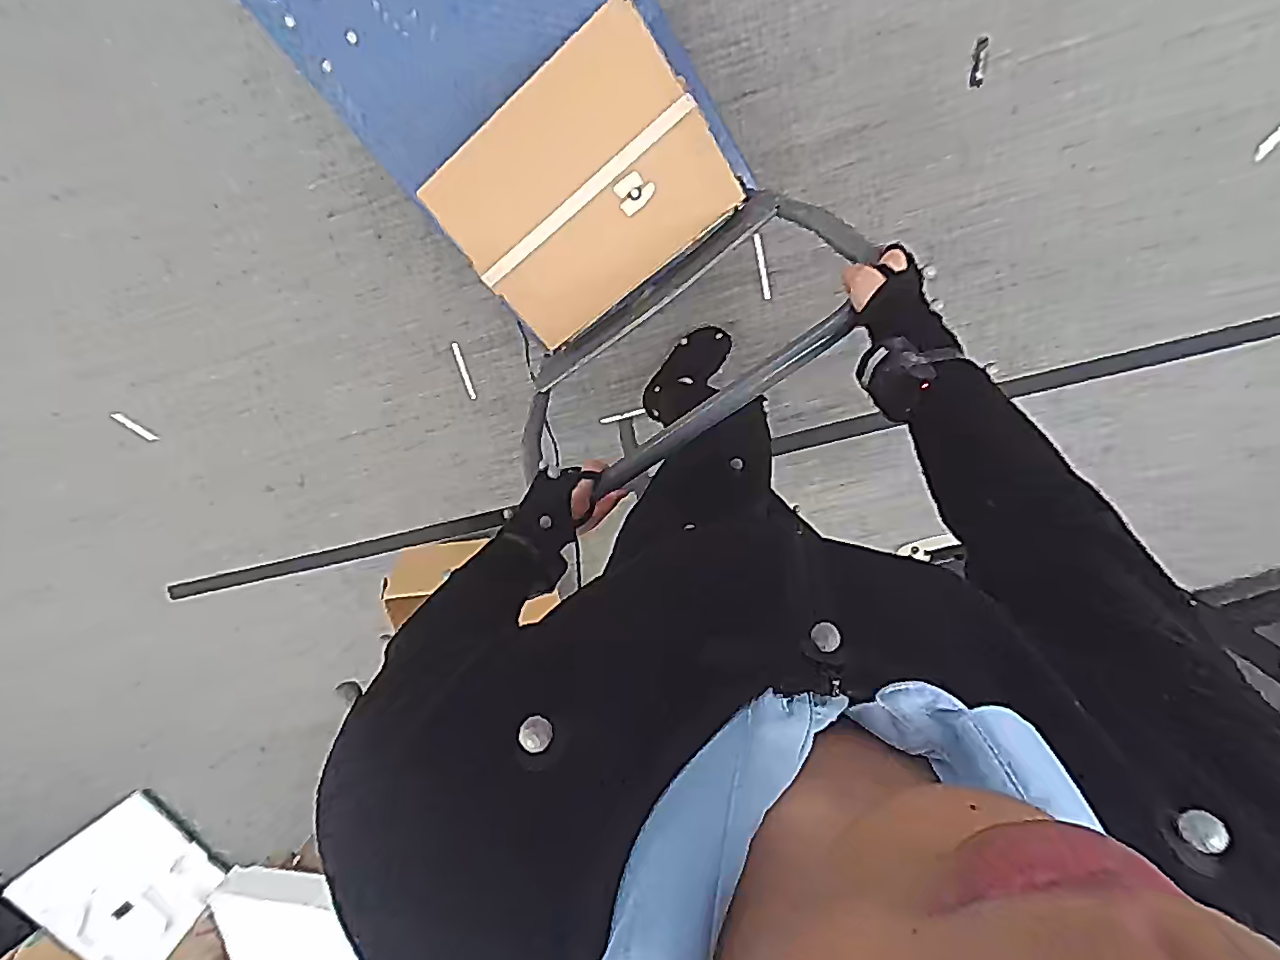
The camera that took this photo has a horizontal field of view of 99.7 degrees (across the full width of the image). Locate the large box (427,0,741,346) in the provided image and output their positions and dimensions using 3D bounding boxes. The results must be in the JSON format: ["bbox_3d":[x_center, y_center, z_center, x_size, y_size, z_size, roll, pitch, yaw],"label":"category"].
[{"bbox_3d":[-0.092,-0.515,0.970,0.408,0.320,0.320,-35,116,15],"label":"large box"}]
